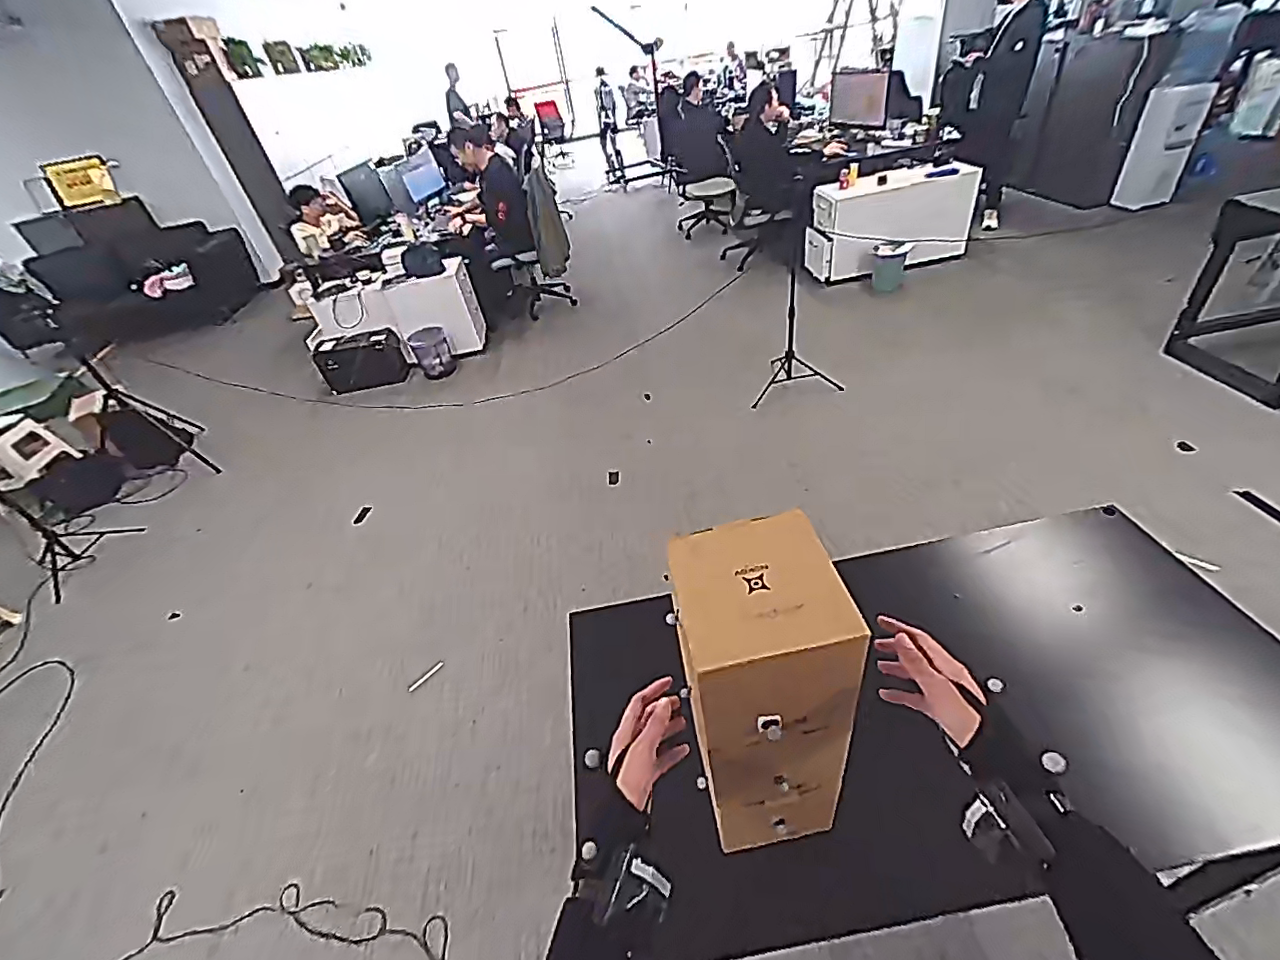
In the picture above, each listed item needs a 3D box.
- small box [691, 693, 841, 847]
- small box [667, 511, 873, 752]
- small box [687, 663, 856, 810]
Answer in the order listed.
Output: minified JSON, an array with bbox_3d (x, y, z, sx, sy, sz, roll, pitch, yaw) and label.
[{"bbox_3d":[0.180,0.415,0.801,0.168,0.176,0.179,-12,39,-2],"label":"small box"},{"bbox_3d":[0.130,0.164,0.596,0.168,0.176,0.179,-12,39,0],"label":"small box"},{"bbox_3d":[0.155,0.288,0.699,0.168,0.176,0.179,-12,39,-1],"label":"small box"}]
